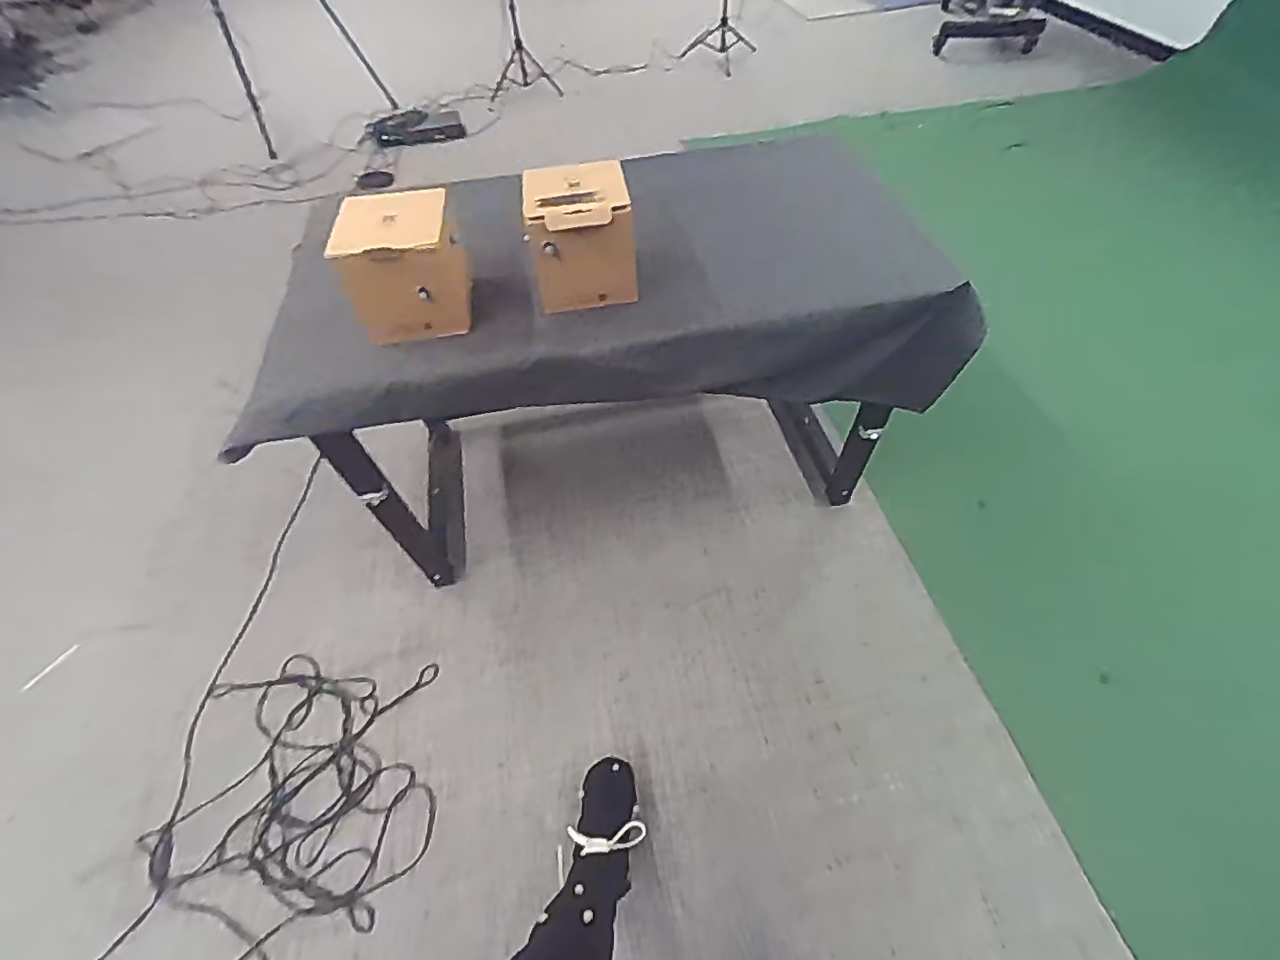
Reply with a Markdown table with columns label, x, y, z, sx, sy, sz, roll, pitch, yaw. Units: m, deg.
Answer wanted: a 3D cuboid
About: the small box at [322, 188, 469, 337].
| label | x | y | z | sx | sy | sz | roll | pitch | yaw |
| --- | --- | --- | --- | --- | --- | --- | --- | --- | --- |
| small box | -0.388 | -0.351 | 0.892 | 0.168 | 0.176 | 0.179 | -8 | 53 | -5 |
